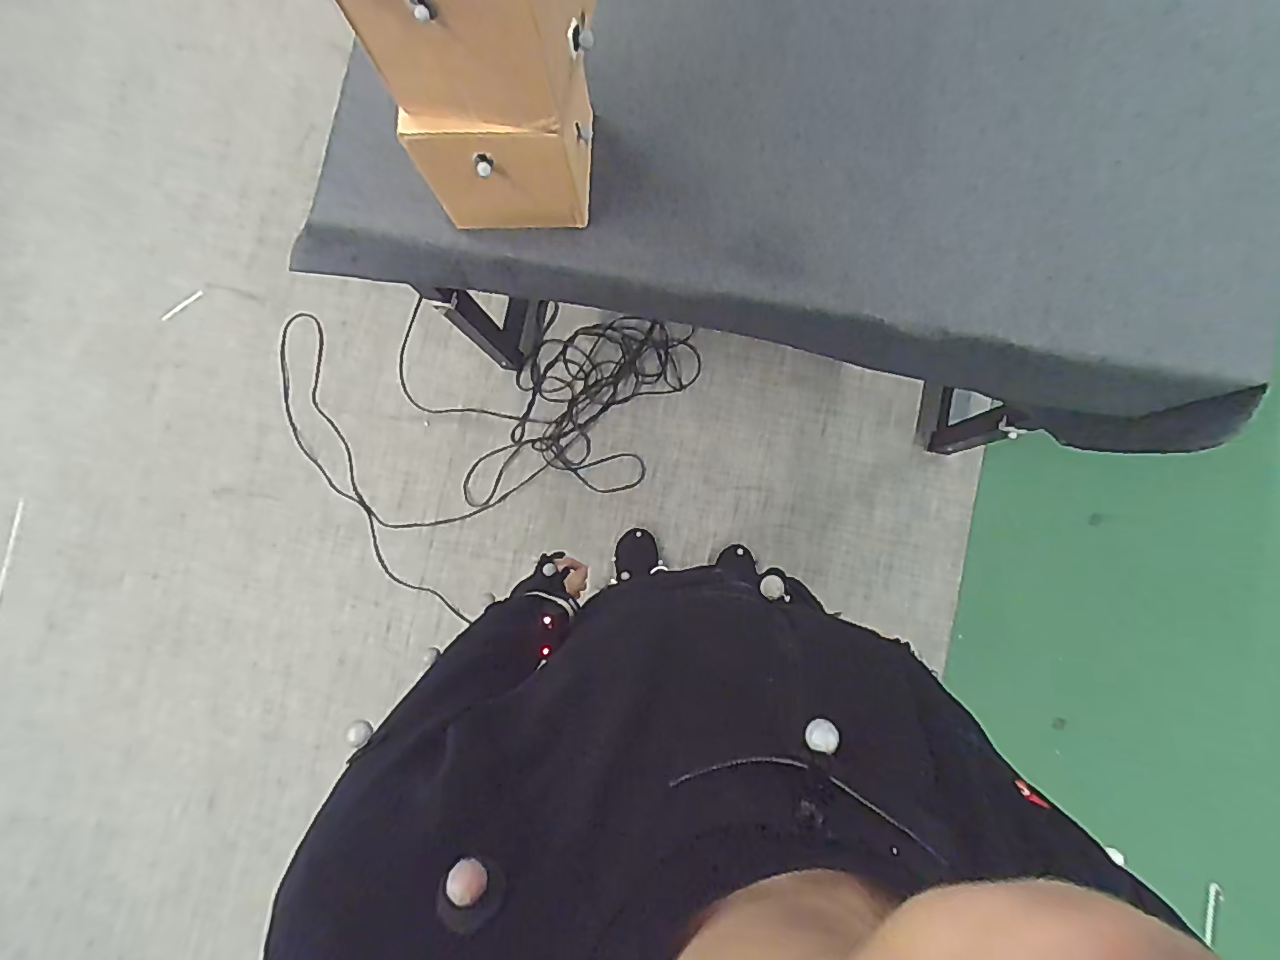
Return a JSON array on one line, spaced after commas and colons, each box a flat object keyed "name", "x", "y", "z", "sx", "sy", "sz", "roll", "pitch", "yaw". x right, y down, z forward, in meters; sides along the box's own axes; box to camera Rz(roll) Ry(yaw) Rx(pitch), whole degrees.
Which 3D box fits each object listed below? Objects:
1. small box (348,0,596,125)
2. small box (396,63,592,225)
[{"name": "small box", "x": -0.146, "y": -0.447, "z": 0.469, "sx": 0.179, "sy": 0.176, "sz": 0.168, "roll": 11, "pitch": 86, "yaw": 4}, {"name": "small box", "x": -0.153, "y": -0.419, "z": 0.629, "sx": 0.179, "sy": 0.176, "sz": 0.168, "roll": 2, "pitch": 84, "yaw": 4}]
